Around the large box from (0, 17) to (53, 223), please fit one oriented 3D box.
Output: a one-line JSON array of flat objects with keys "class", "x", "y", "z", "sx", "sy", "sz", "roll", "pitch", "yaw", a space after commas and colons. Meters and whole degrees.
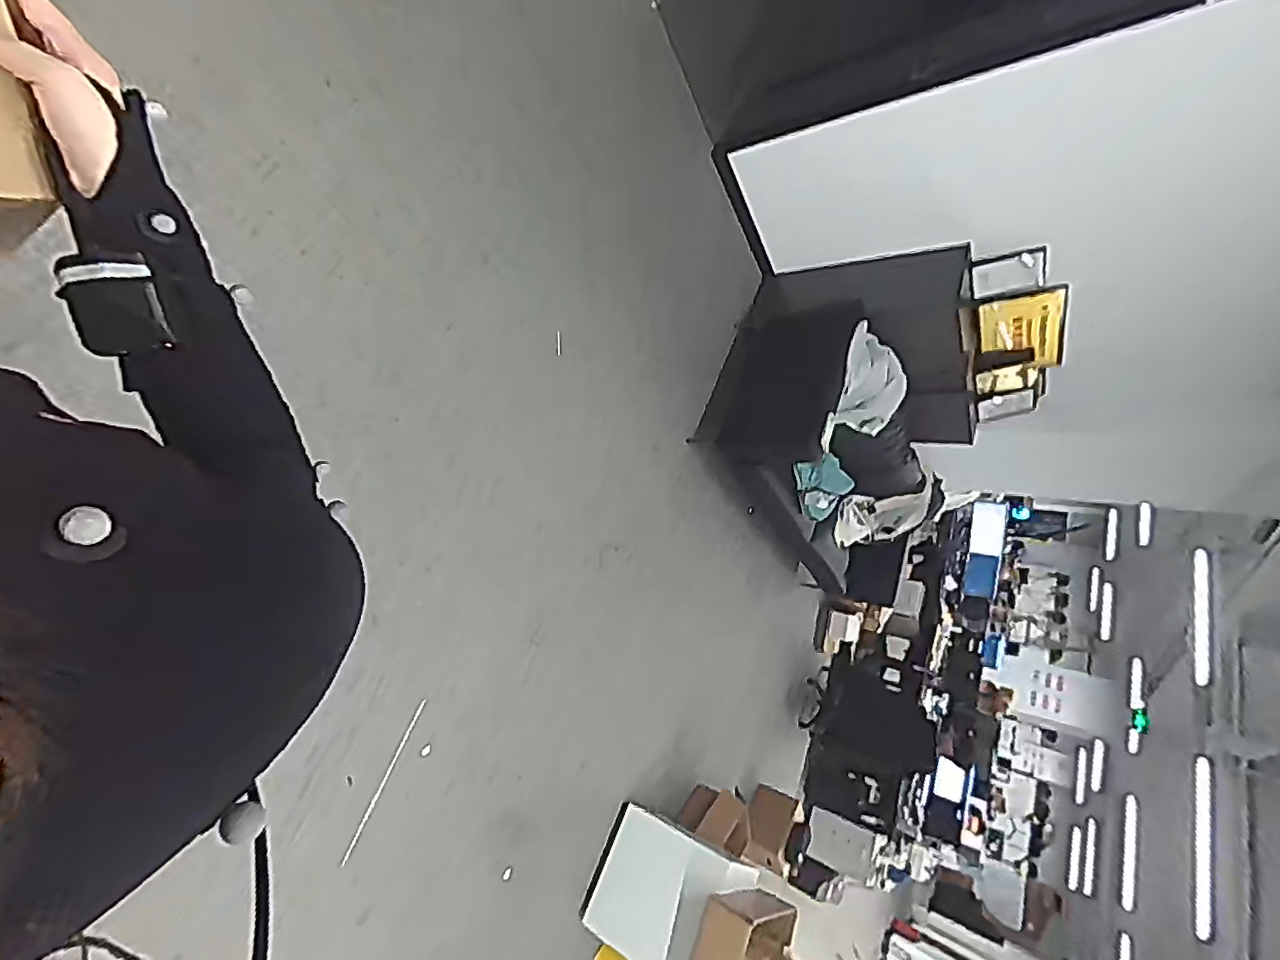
[{"class": "large box", "x": -0.643, "y": -0.308, "z": 0.254, "sx": 0.408, "sy": 0.320, "sz": 0.320, "roll": -27, "pitch": 119, "yaw": -50}]
